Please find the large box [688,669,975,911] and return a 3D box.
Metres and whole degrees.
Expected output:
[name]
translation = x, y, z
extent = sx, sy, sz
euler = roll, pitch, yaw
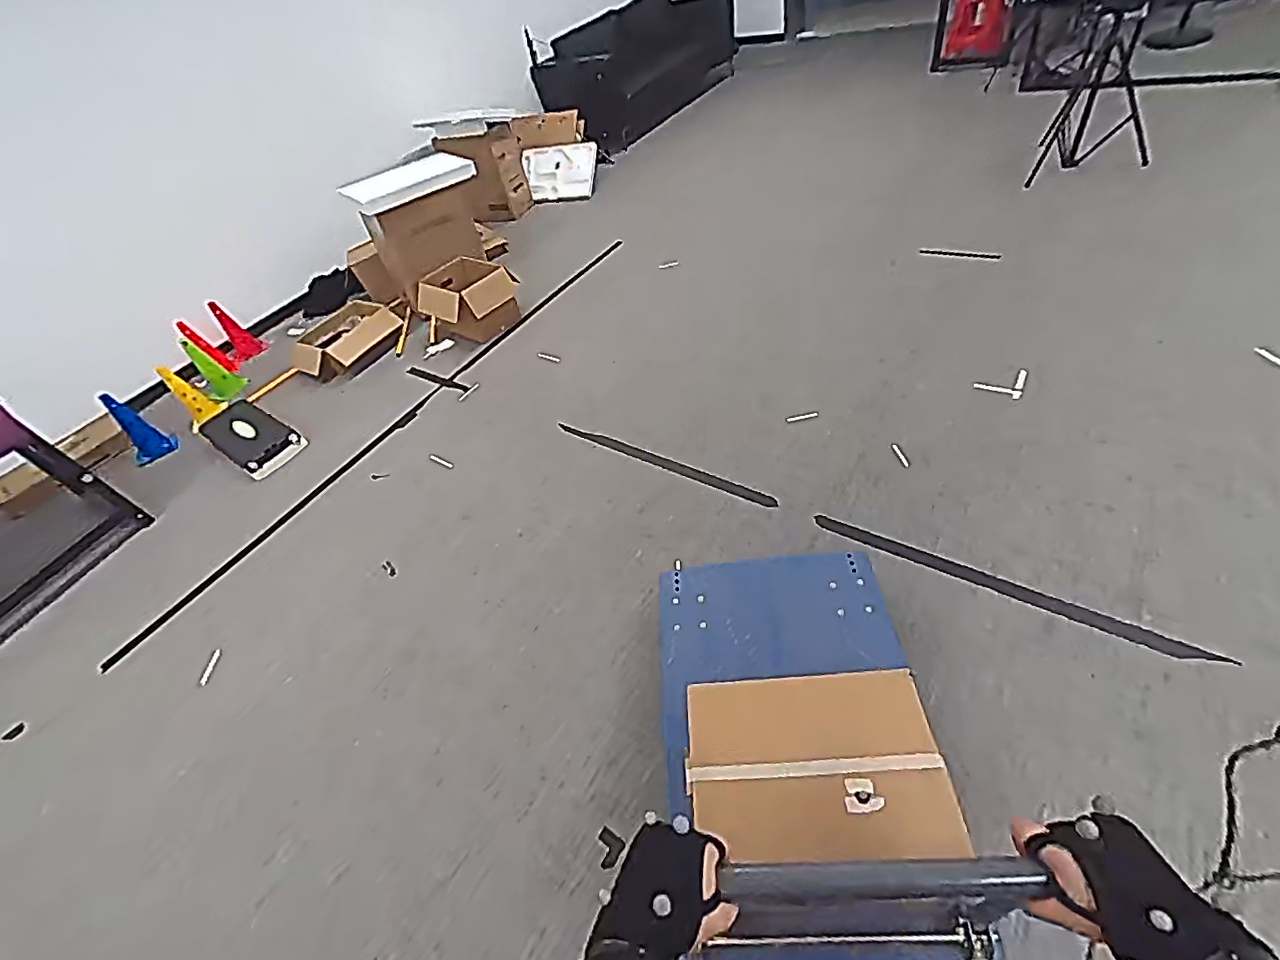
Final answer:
[large box]
translation = 0.312, 0.580, 1.004
extent = 0.408, 0.320, 0.320
euler = -7, 46, 7
